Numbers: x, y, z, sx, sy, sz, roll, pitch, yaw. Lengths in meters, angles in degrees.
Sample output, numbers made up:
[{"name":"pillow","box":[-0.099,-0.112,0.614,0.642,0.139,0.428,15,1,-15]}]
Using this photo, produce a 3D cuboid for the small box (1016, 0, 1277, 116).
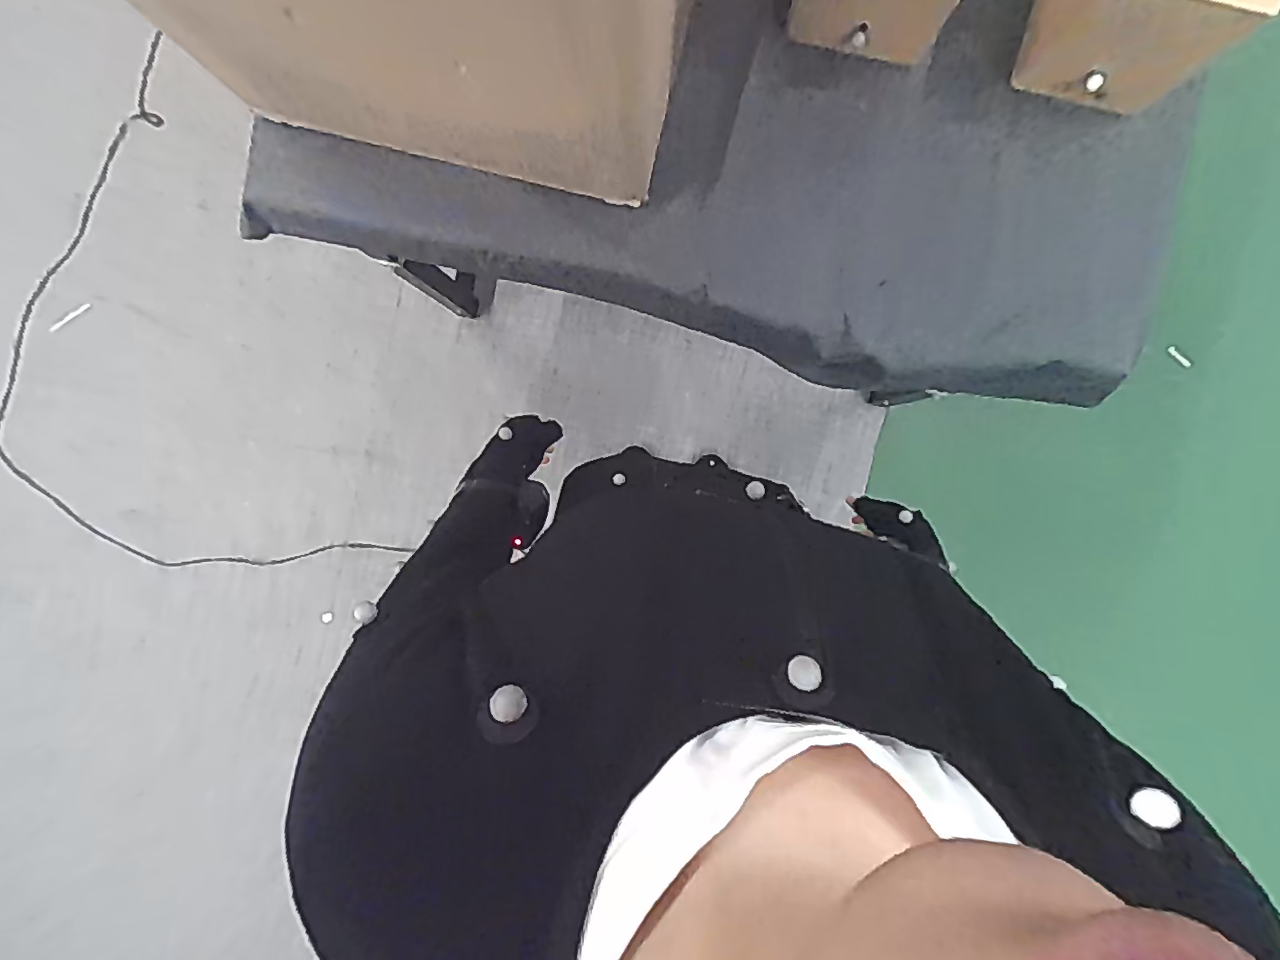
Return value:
[{"name":"small box","box":[0.578,-0.569,0.617,0.168,0.176,0.179,15,94,1]}]
